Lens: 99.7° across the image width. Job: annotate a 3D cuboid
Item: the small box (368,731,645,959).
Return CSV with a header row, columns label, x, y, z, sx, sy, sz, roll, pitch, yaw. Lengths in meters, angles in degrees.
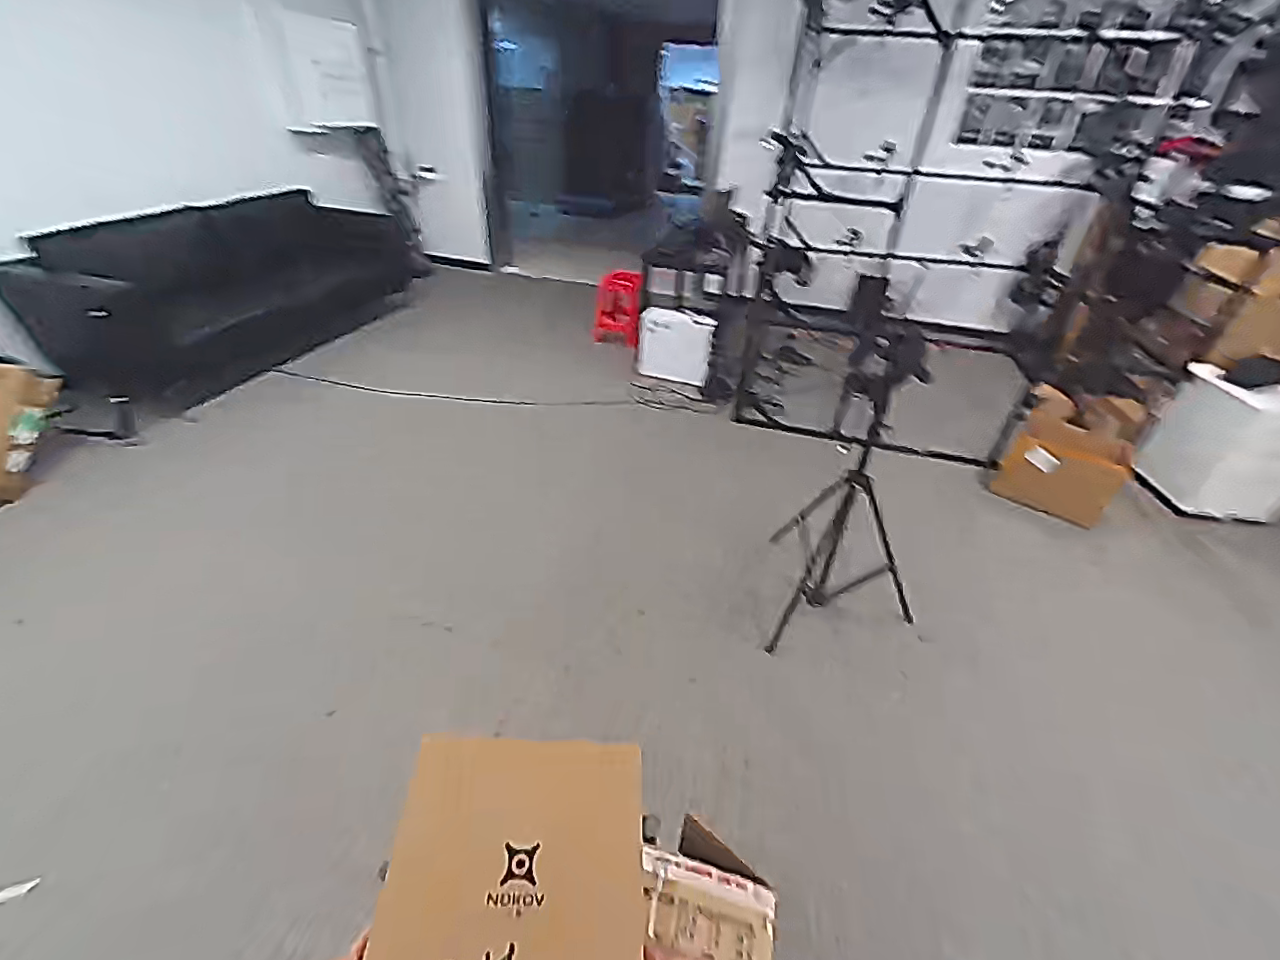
label,x,y,z,sx,sy,sz,roll,pitch,yaw
small box,-0.089,0.313,0.407,0.168,0.176,0.179,4,44,-6
